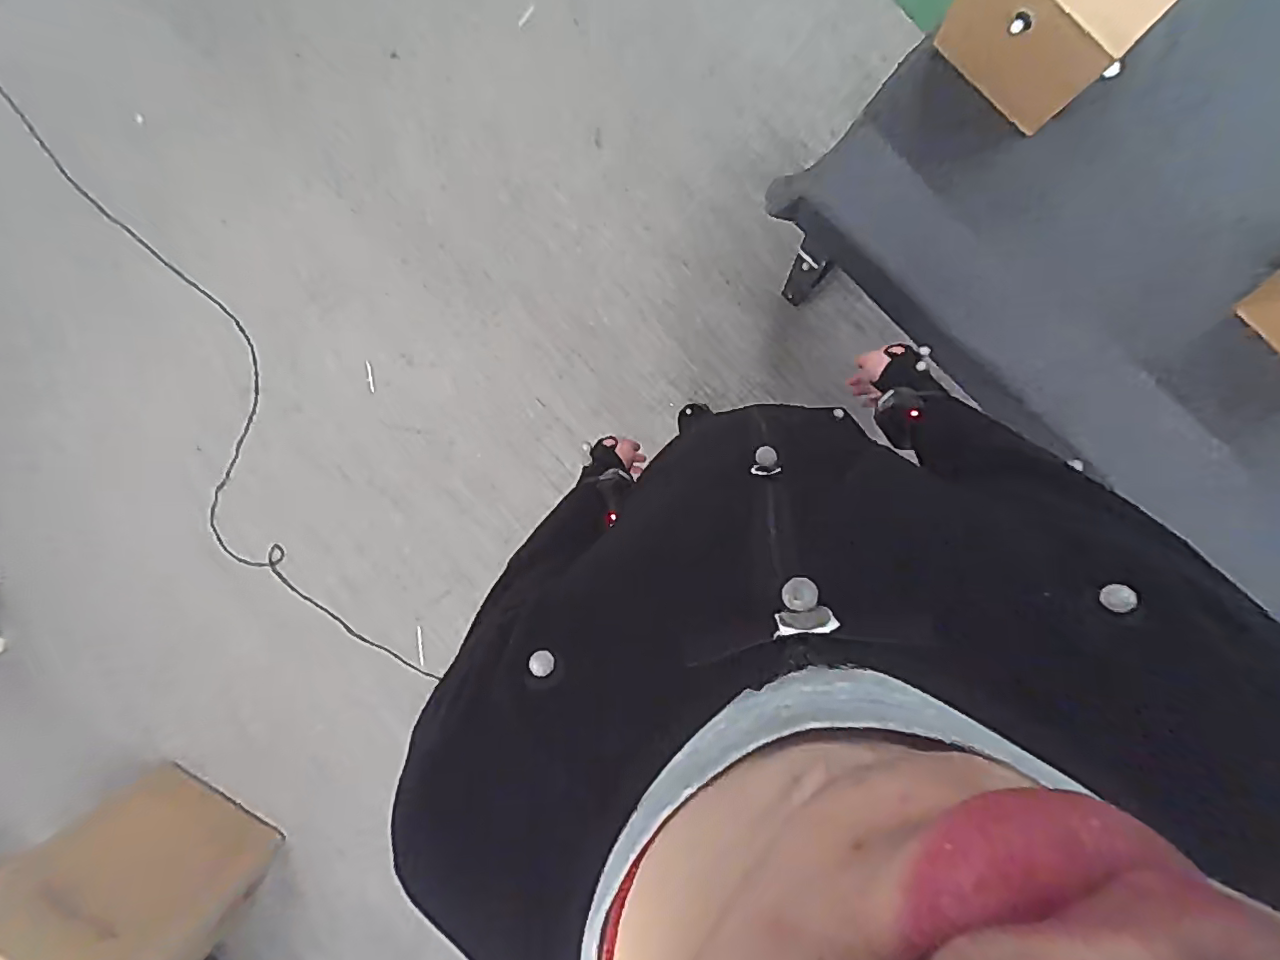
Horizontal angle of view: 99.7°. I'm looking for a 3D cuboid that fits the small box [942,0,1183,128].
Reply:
[{"bbox_3d":[0.482,-0.544,0.600,0.179,0.176,0.168,44,103,-1],"label":"small box"}]
